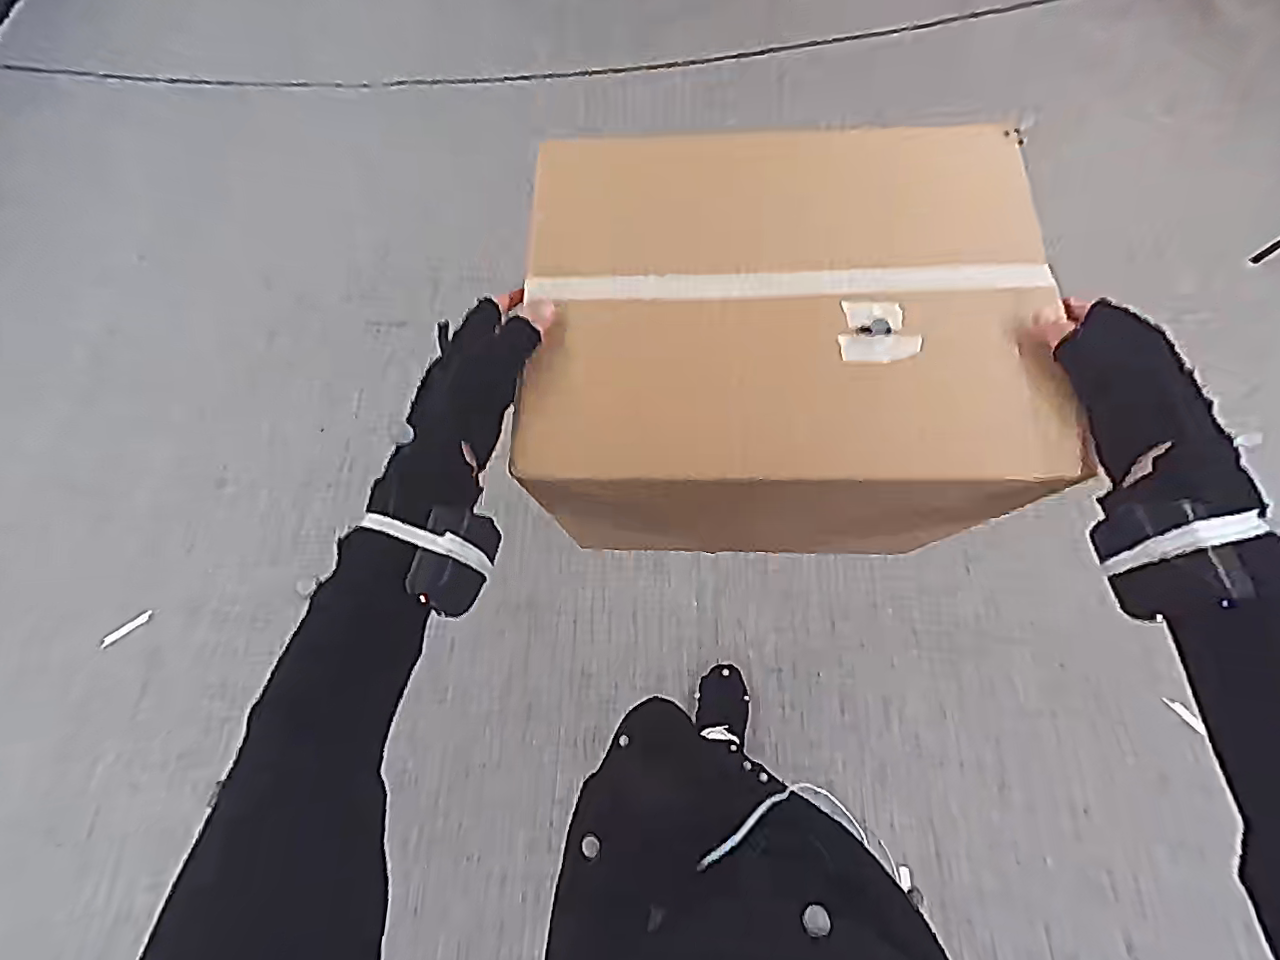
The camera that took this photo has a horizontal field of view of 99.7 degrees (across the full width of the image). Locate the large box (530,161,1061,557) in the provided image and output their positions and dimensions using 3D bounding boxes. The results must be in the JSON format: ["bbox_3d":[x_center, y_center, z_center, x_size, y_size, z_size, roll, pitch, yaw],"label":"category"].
[{"bbox_3d":[0.119,-0.094,0.590,0.408,0.320,0.320,0,73,3],"label":"large box"}]
